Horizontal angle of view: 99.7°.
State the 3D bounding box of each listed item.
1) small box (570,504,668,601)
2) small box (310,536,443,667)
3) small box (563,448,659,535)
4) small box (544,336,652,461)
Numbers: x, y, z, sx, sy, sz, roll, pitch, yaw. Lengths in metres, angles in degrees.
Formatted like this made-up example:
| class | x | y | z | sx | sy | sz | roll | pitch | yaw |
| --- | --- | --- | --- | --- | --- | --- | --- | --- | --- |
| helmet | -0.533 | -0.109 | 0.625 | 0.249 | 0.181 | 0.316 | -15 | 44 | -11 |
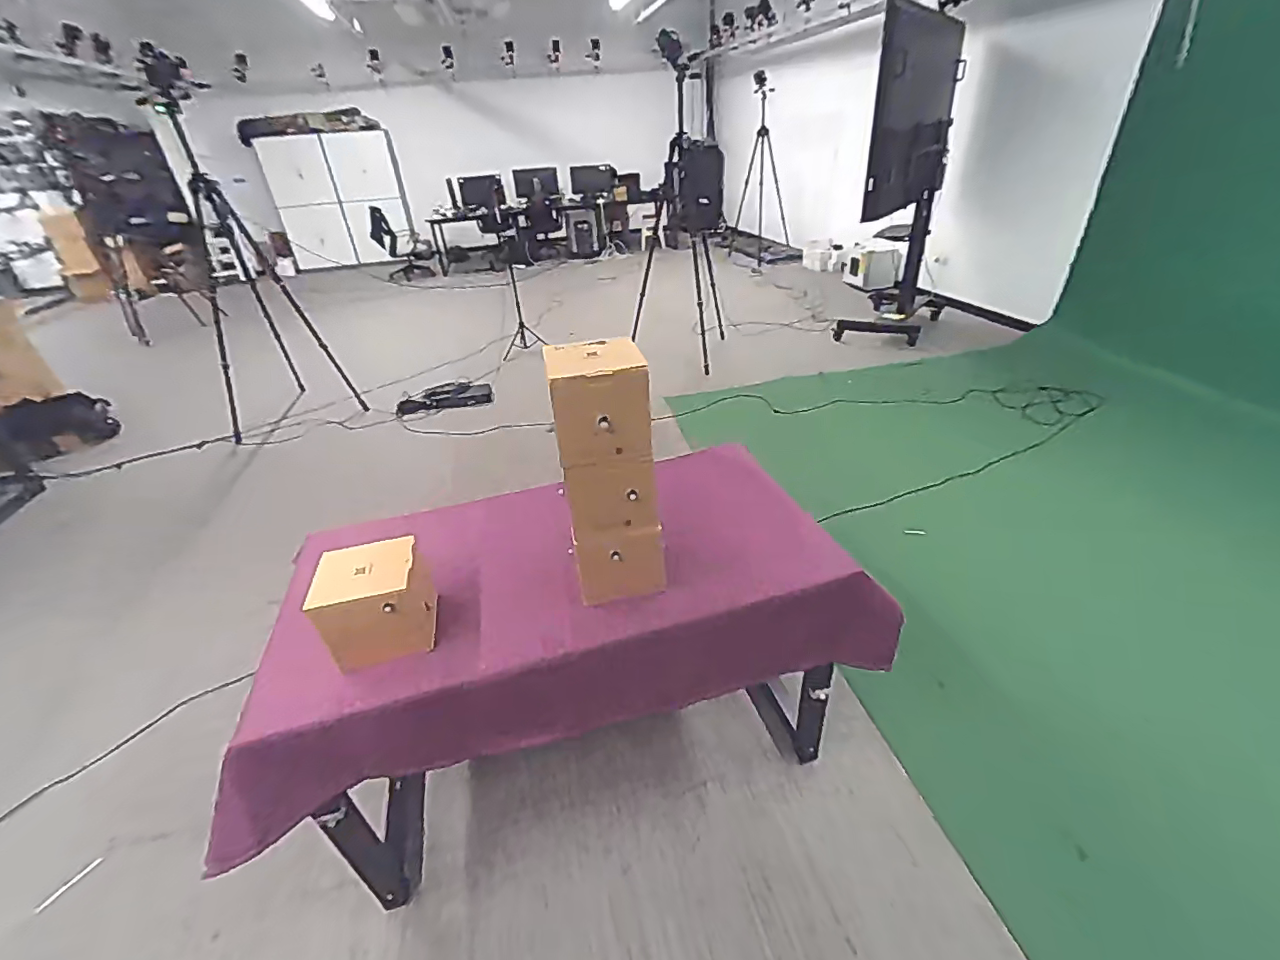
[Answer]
| class | x | y | z | sx | sy | sz | roll | pitch | yaw |
| --- | --- | --- | --- | --- | --- | --- | --- | --- | --- |
| small box | -0.045 | 0.135 | 1.147 | 0.179 | 0.176 | 0.168 | -10 | 33 | -6 |
| small box | -0.503 | 0.239 | 1.060 | 0.179 | 0.176 | 0.168 | -11 | 33 | -10 |
| small box | -0.060 | -0.006 | 1.068 | 0.168 | 0.176 | 0.179 | -9 | 32 | -6 |
| small box | -0.077 | -0.144 | 0.980 | 0.168 | 0.176 | 0.179 | -9 | 33 | -7 |
